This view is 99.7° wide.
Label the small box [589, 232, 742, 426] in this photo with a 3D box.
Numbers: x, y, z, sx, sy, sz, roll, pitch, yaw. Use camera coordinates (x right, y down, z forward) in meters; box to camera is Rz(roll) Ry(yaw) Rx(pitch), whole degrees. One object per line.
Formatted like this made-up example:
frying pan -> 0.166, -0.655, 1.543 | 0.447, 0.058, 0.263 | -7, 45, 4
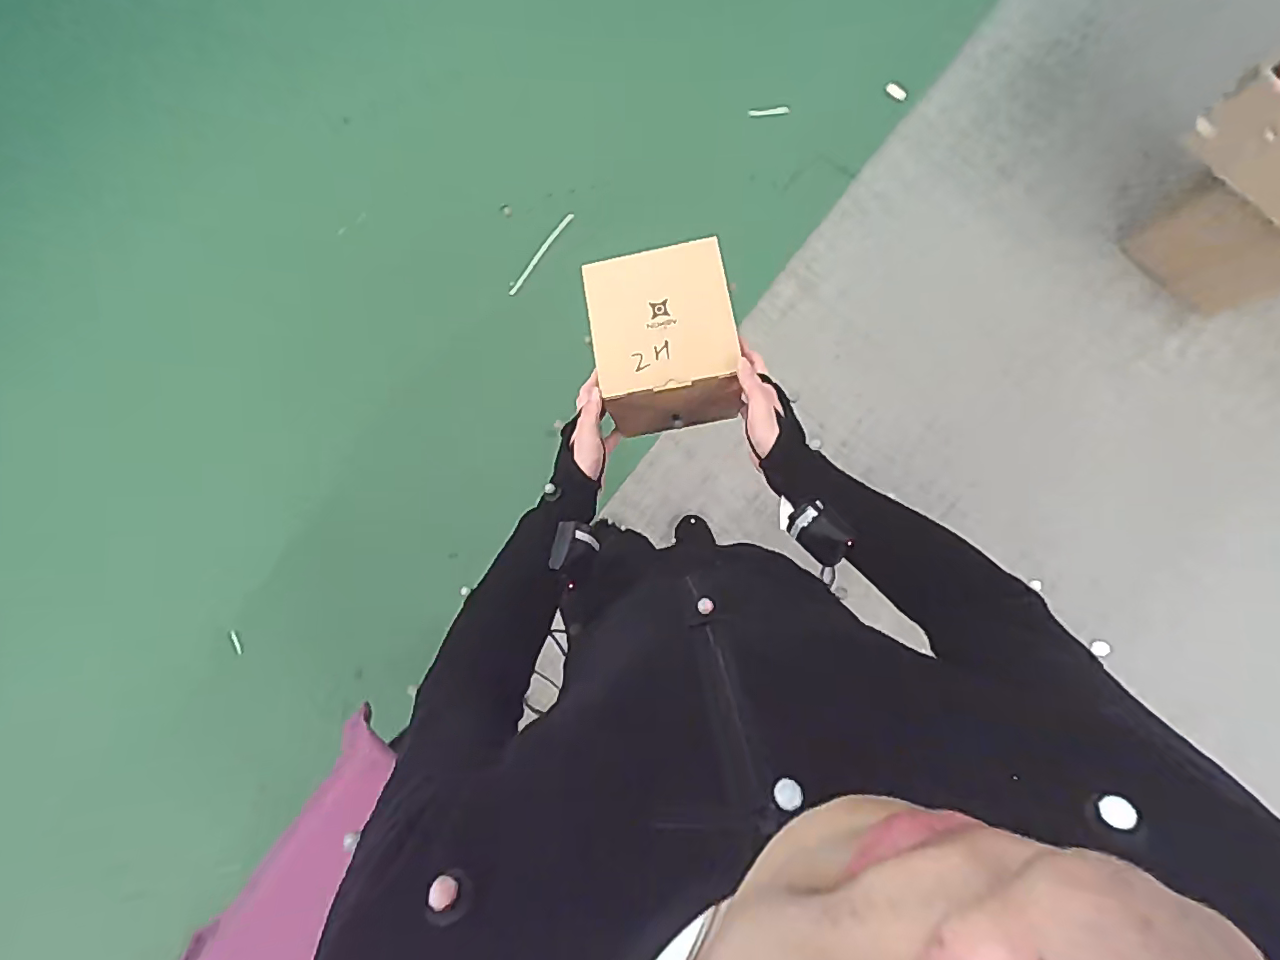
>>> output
small box -> 0.036, -0.185, 0.708 | 0.168, 0.176, 0.179 | -8, 79, 7
